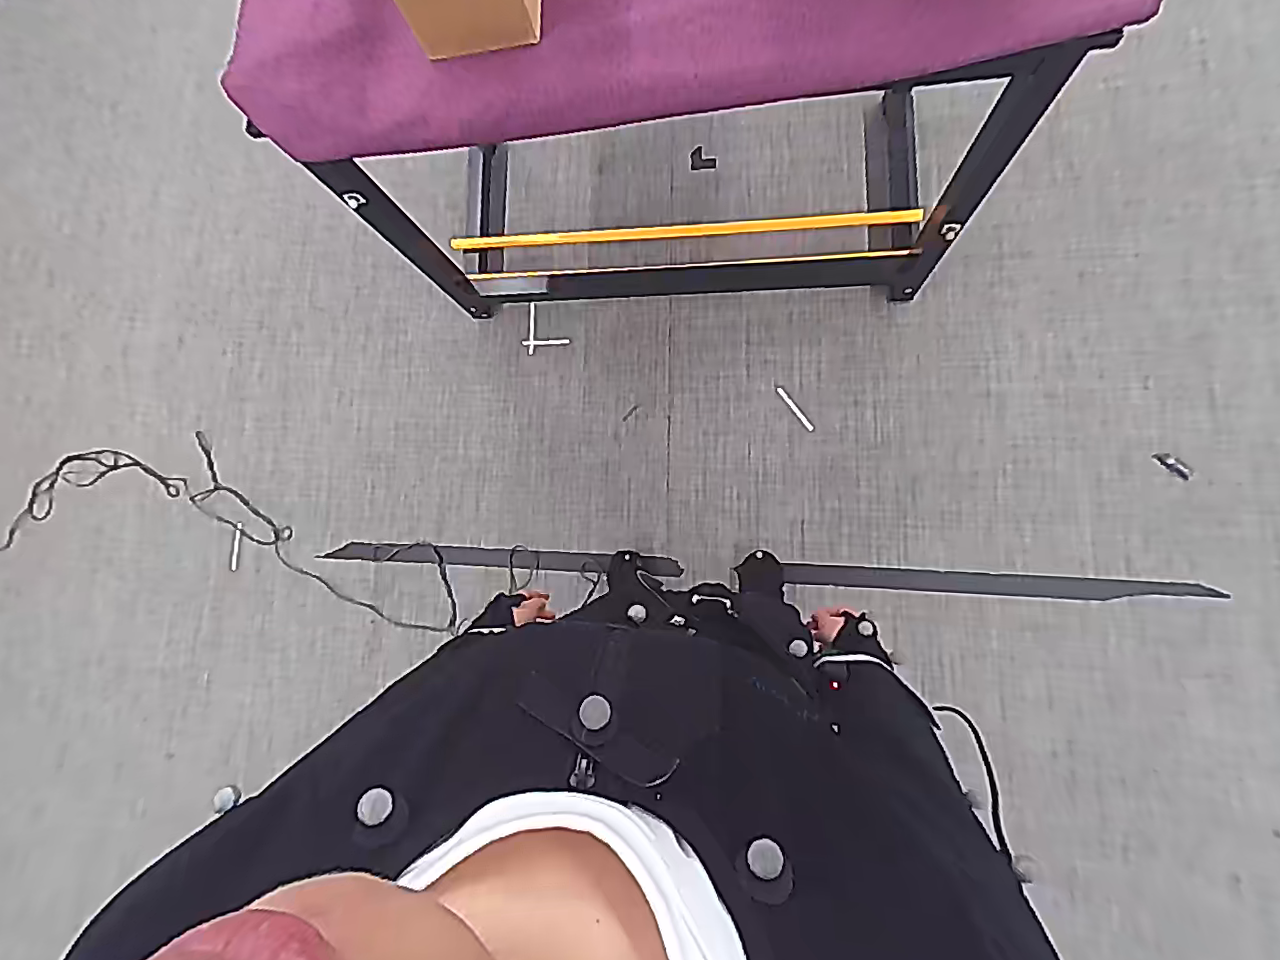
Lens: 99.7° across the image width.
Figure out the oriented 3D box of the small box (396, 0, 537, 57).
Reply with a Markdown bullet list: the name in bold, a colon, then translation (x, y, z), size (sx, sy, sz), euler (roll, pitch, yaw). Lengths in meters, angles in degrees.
- **small box**: translation (-0.239, -0.713, 0.717), size (0.179, 0.176, 0.168), euler (-1, 82, 9)
